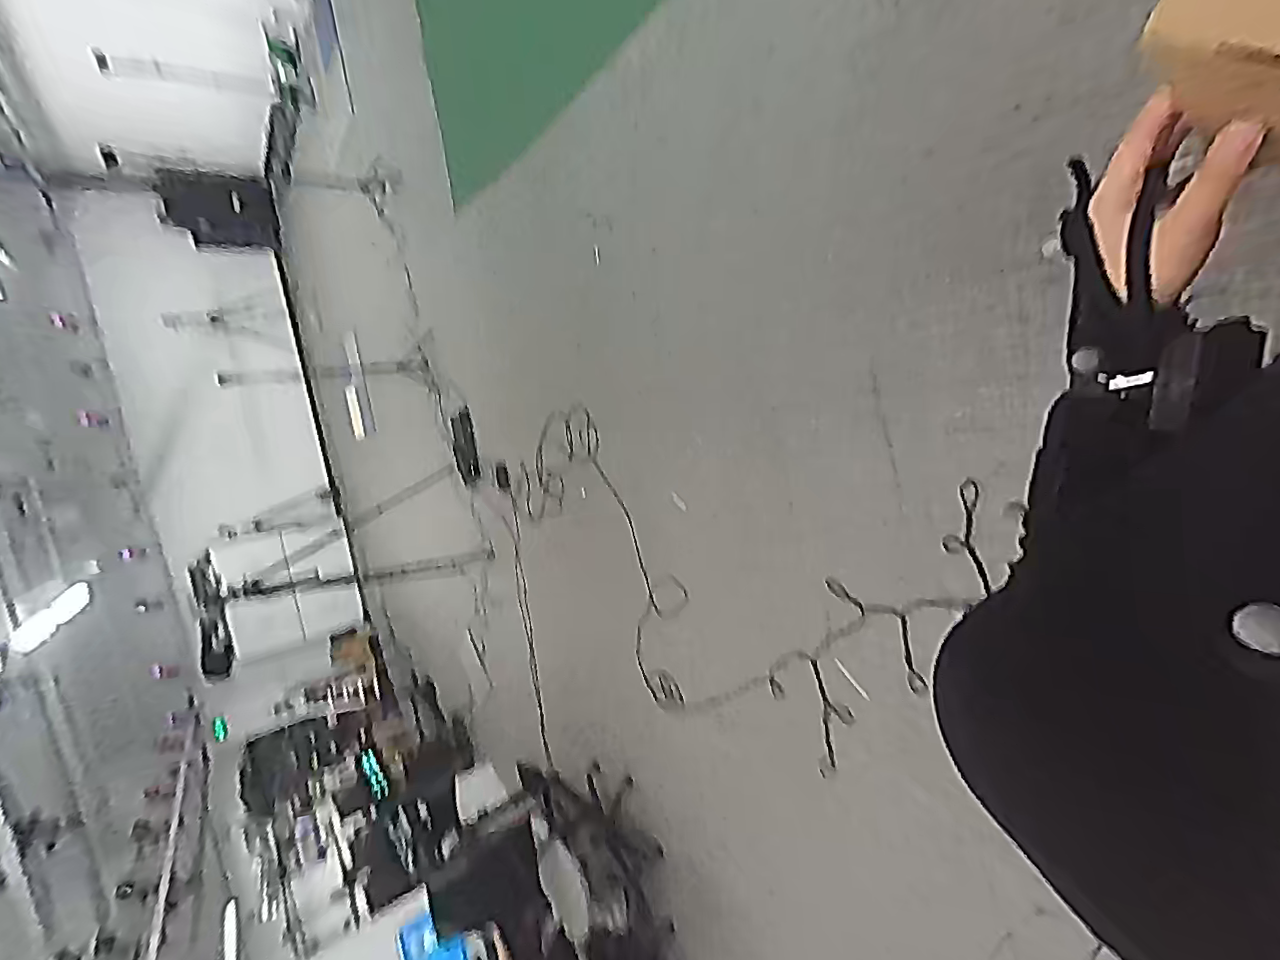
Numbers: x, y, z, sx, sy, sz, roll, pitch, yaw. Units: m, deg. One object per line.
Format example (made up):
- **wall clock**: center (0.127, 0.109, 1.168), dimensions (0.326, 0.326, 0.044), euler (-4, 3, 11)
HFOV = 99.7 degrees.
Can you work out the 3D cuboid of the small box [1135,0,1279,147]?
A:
- **small box**: center (0.346, -0.214, 0.186), dimensions (0.168, 0.176, 0.179), euler (52, 134, 37)
